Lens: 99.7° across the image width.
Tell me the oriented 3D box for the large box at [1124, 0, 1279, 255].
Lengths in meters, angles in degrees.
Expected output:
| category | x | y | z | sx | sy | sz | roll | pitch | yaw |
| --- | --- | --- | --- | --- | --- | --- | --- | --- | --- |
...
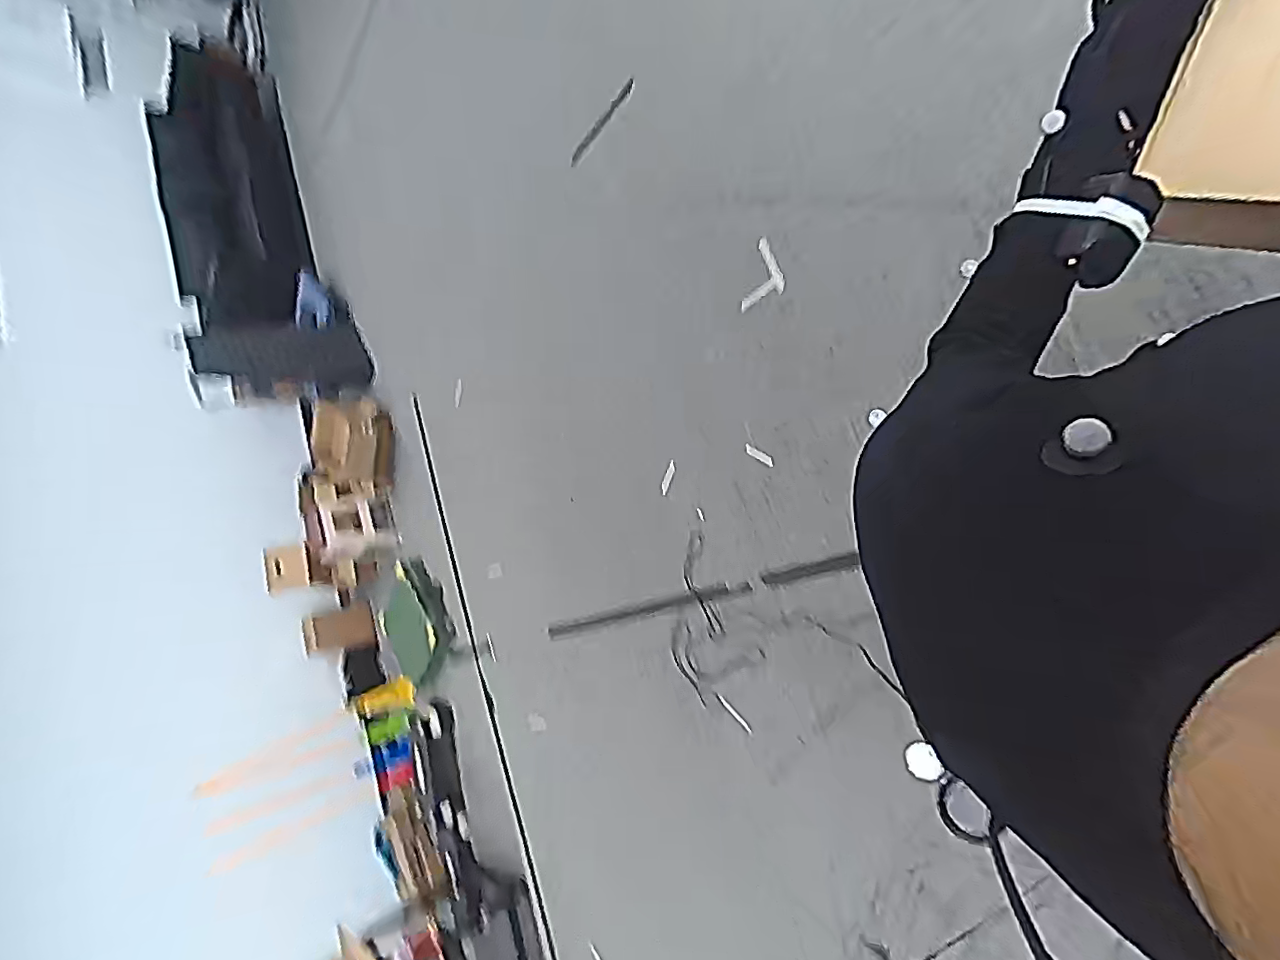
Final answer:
| category | x | y | z | sx | sy | sz | roll | pitch | yaw |
| --- | --- | --- | --- | --- | --- | --- | --- | --- | --- |
| large box | 0.642 | -0.326 | 0.366 | 0.408 | 0.320 | 0.320 | 24 | 118 | 36 |
